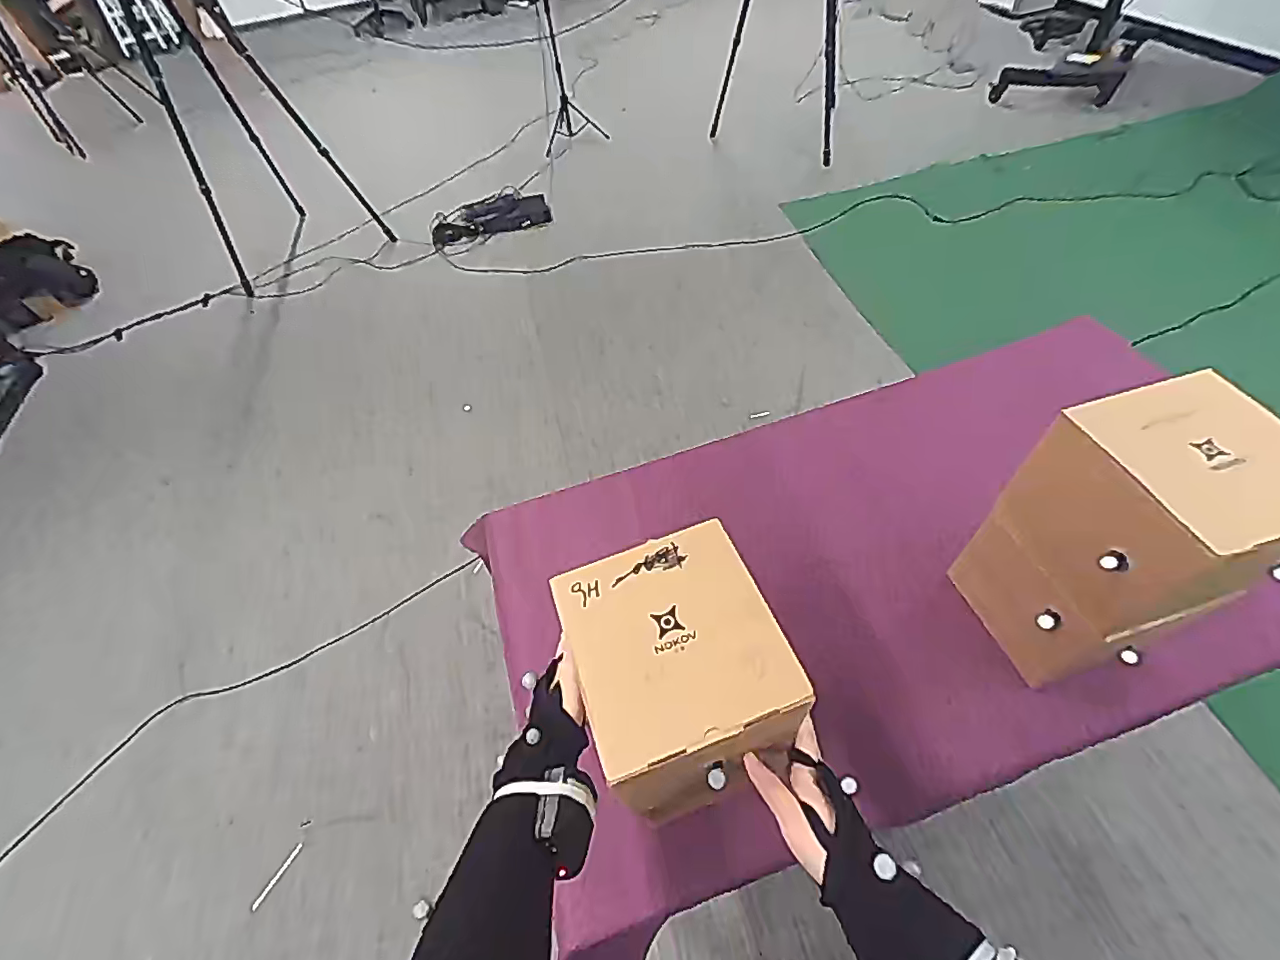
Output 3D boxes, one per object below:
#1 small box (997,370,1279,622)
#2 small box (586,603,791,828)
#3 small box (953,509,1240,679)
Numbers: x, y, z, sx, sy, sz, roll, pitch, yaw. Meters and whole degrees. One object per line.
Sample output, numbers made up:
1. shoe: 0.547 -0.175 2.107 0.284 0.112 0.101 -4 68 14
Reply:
1. small box: 0.512 0.025 0.542 0.168 0.176 0.179 -15 51 -3
2. small box: 0.055 0.278 0.629 0.179 0.176 0.168 -19 51 -7
3. small box: 0.533 0.127 0.668 0.168 0.176 0.179 -17 52 -5
